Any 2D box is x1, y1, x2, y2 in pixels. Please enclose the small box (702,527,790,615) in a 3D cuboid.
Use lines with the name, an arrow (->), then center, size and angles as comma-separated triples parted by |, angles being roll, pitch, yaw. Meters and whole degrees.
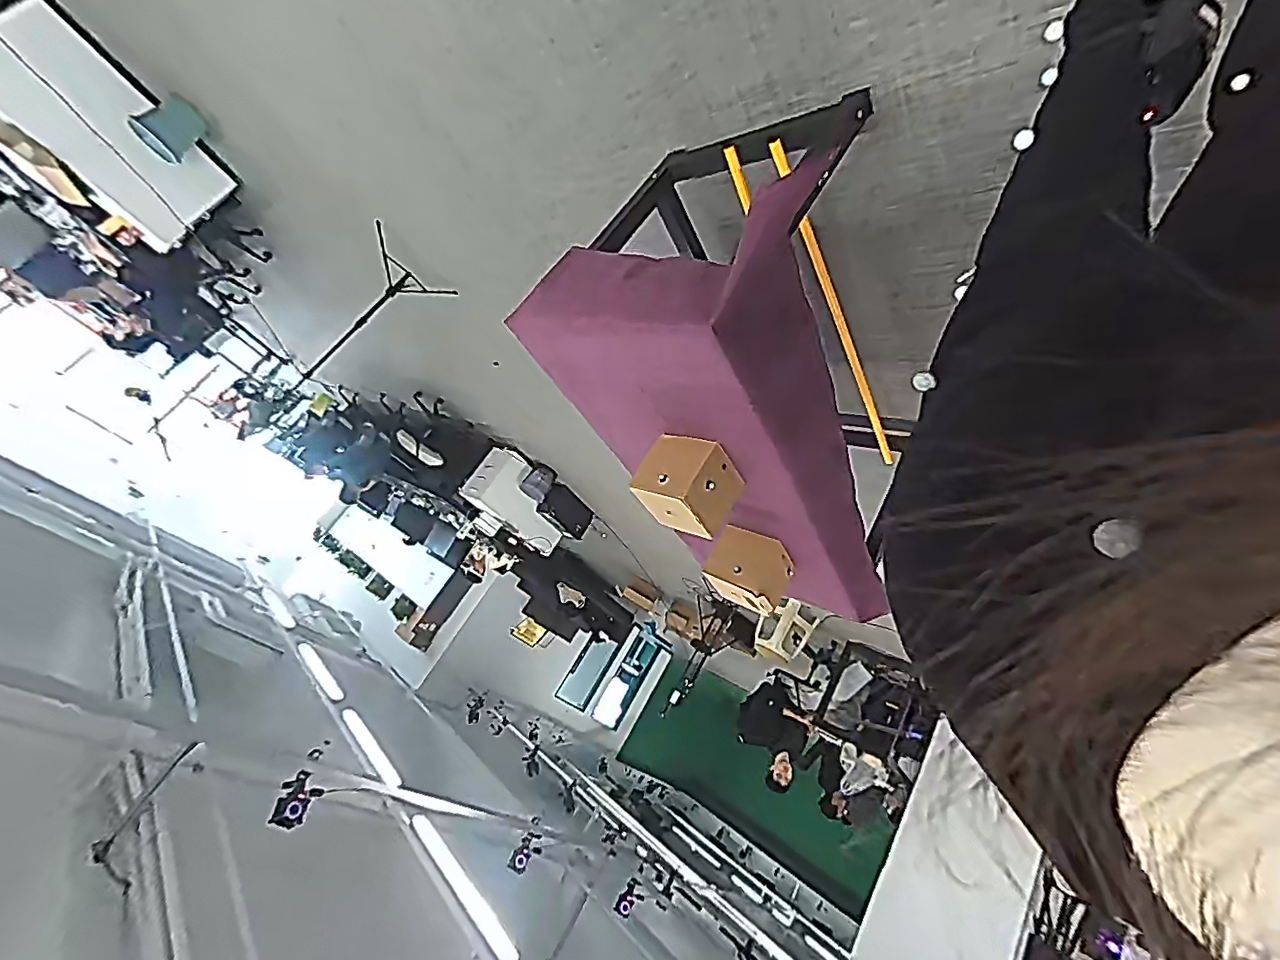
small box -> 0.313, 0.256, 1.557 | 0.179, 0.176, 0.168 | 17, 155, 41

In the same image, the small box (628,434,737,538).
small box -> 0.110, 0.009, 1.279 | 0.179, 0.176, 0.168 | 15, 153, 44
